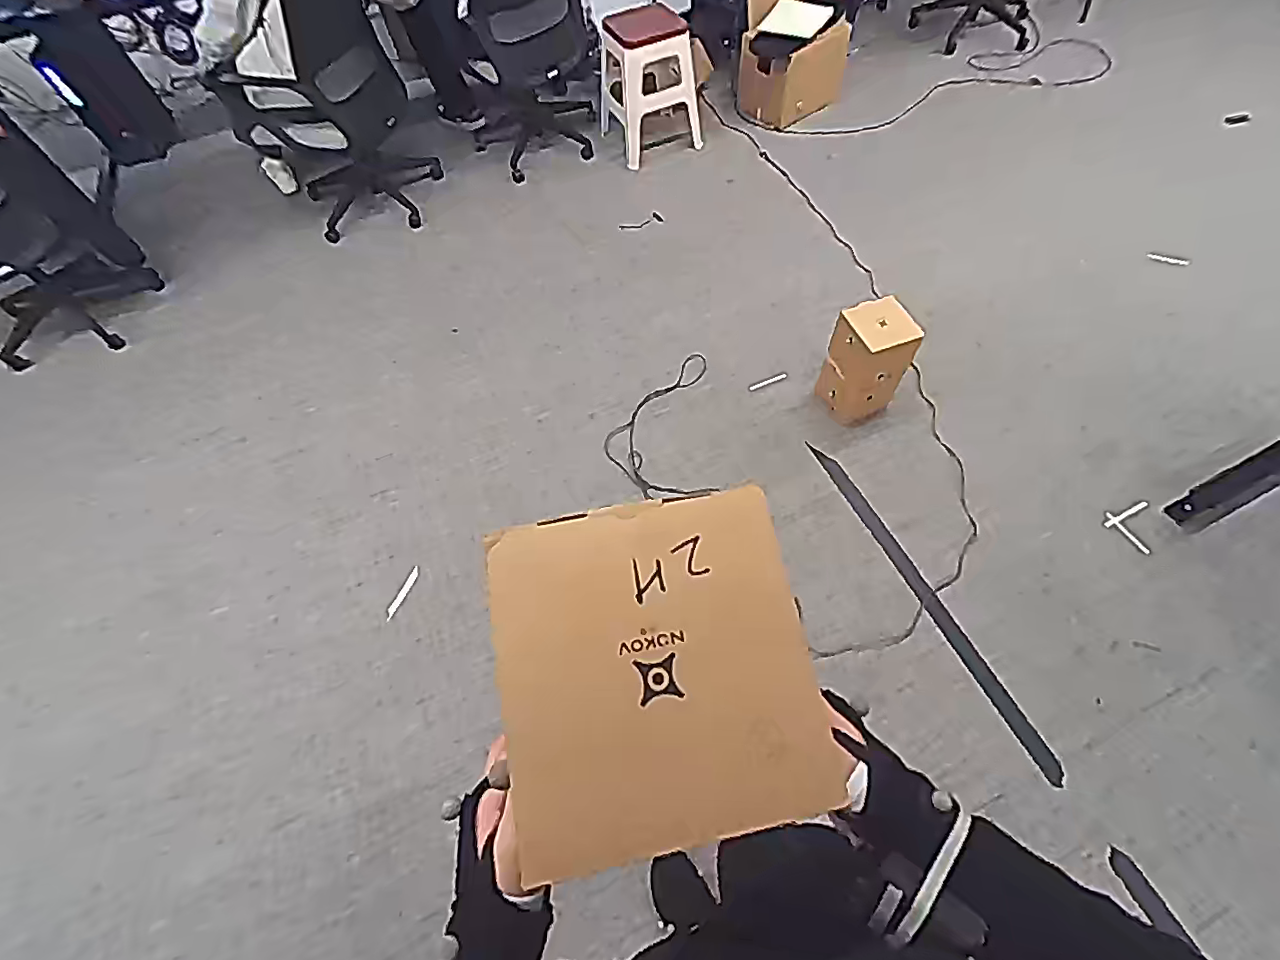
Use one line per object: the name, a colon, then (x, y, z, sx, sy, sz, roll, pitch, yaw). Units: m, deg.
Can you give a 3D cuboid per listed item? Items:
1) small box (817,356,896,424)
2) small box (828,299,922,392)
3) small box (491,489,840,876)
small box: (0.684, -0.305, 1.721, 0.179, 0.176, 0.168, -23, 61, -8)
small box: (0.676, -0.391, 1.582, 0.168, 0.176, 0.179, -19, 61, -6)
small box: (0.005, 0.123, 0.368, 0.168, 0.176, 0.179, -9, 71, -7)
